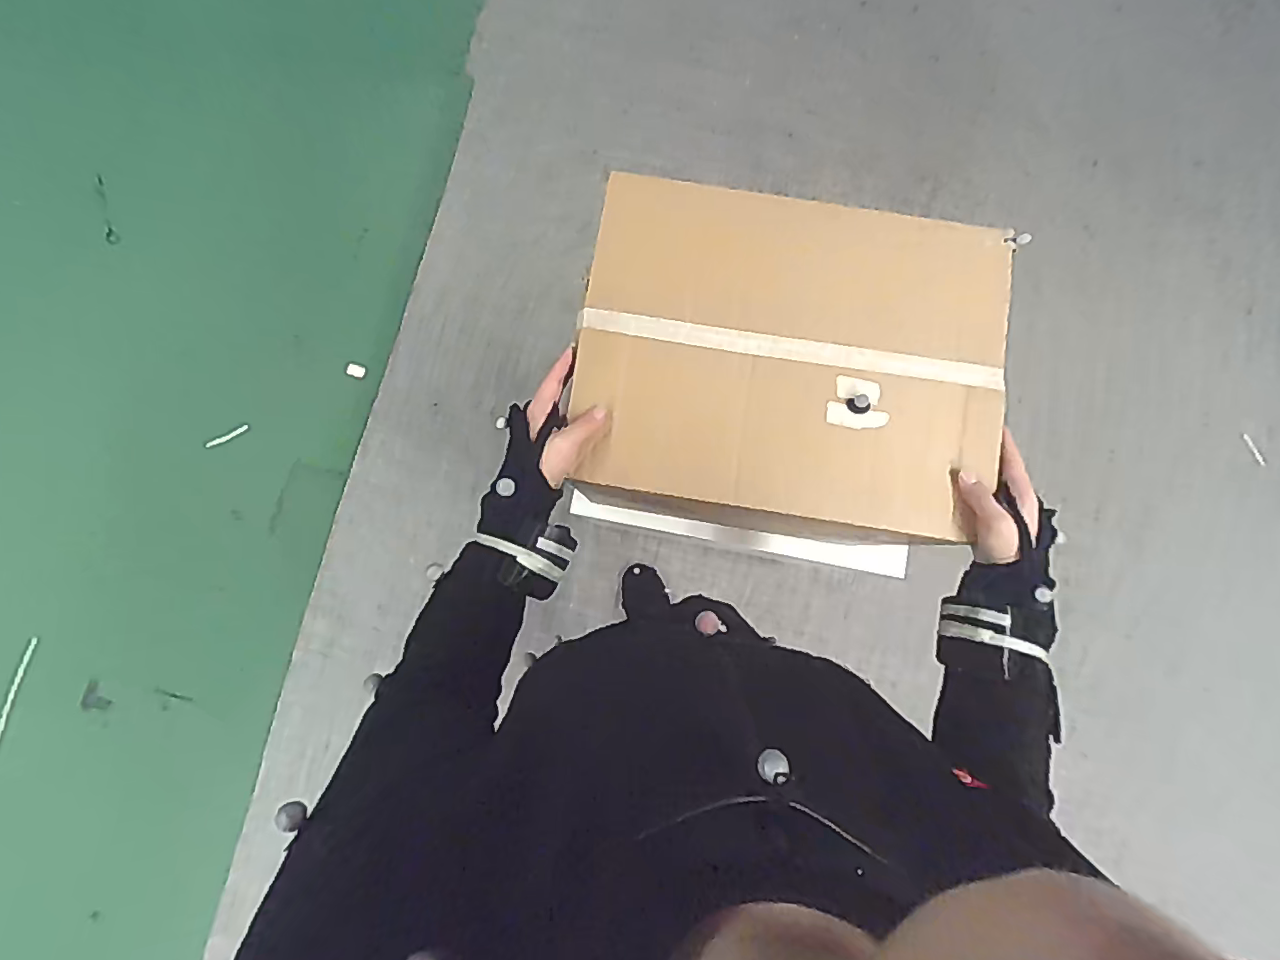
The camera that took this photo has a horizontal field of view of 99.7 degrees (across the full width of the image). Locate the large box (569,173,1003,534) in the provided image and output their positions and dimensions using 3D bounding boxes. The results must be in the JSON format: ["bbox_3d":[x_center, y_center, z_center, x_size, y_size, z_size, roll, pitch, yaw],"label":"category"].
[{"bbox_3d":[0.144,-0.115,0.669,0.408,0.320,0.320,9,84,0],"label":"large box"}]
